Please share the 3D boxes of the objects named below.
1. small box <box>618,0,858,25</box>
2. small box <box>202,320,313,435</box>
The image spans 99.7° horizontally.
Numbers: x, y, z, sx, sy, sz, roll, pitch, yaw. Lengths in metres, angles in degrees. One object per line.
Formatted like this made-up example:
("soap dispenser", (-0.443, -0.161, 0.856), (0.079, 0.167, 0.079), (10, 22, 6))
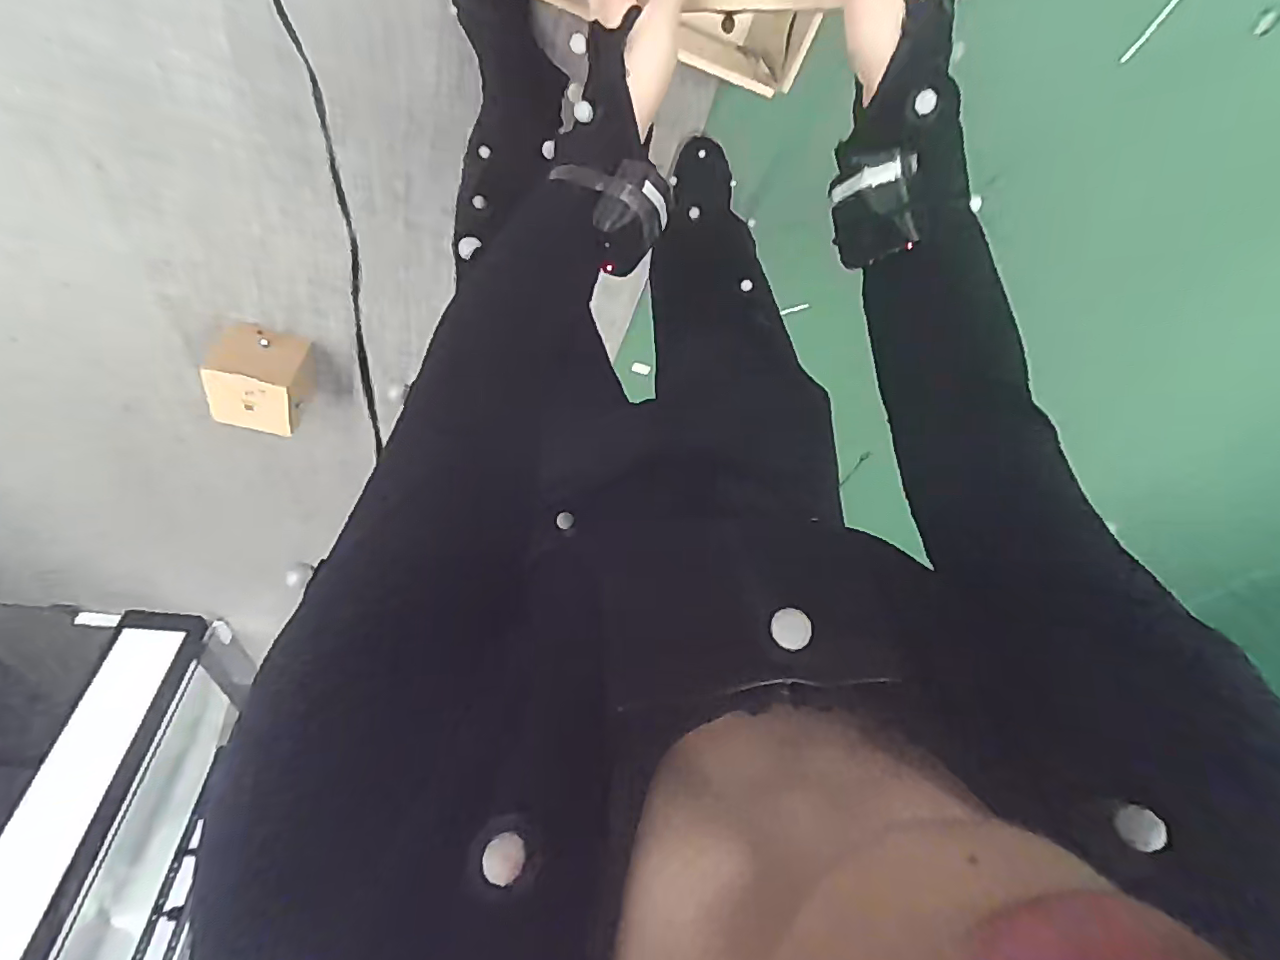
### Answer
("small box", (0.082, -0.457, 0.403), (0.179, 0.176, 0.168), (6, 133, 5))
("small box", (-0.890, -0.240, 1.279), (0.168, 0.176, 0.179), (13, 138, -20))
